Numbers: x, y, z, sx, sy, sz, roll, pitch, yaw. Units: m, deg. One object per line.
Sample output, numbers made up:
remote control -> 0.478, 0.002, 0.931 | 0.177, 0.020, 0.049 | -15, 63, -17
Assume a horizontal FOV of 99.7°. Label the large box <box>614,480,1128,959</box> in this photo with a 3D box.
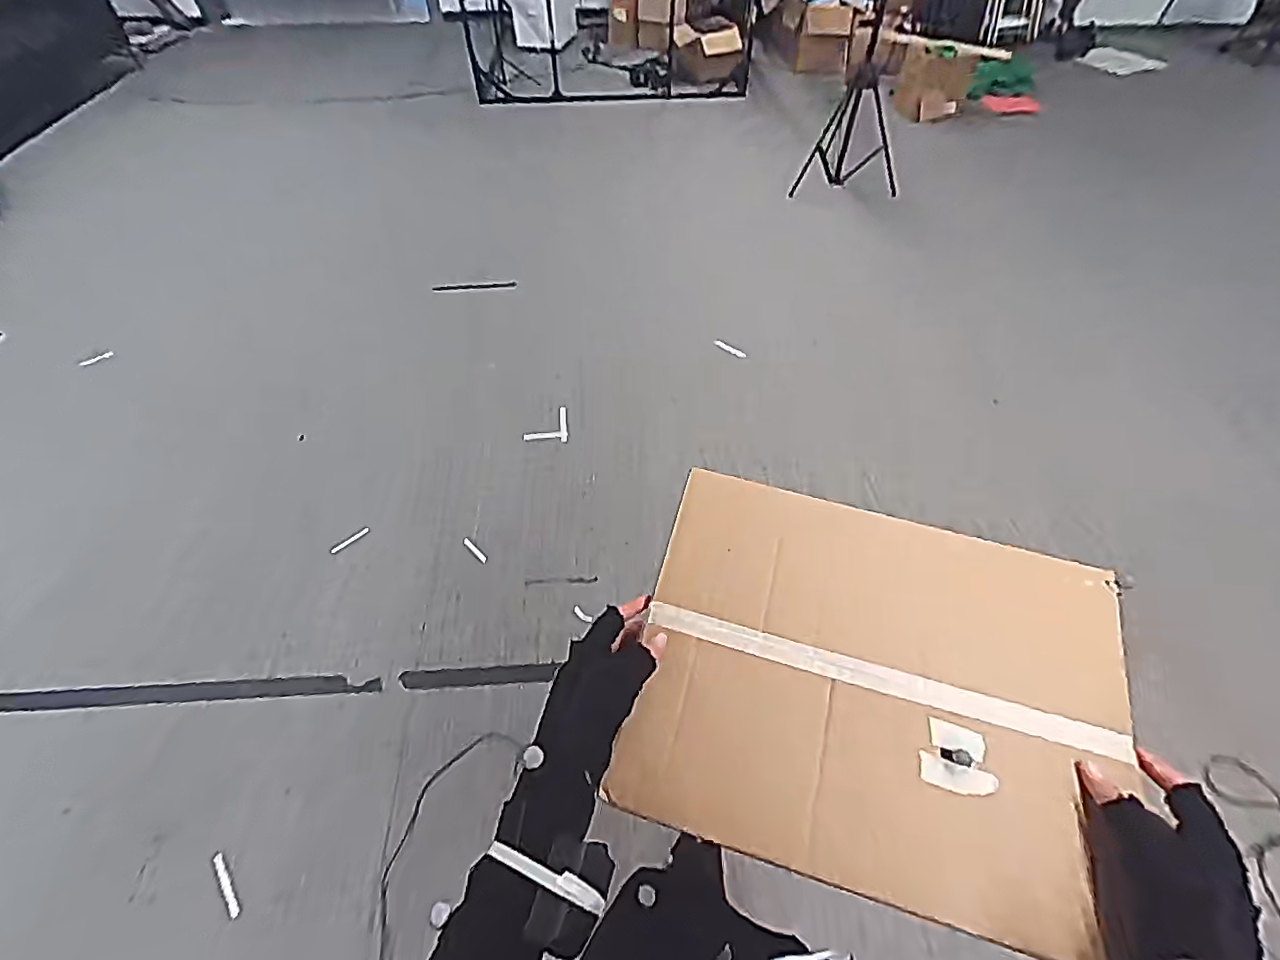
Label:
large box -> 0.208, 0.243, 0.617 | 0.408, 0.320, 0.320 | 15, 65, 8
